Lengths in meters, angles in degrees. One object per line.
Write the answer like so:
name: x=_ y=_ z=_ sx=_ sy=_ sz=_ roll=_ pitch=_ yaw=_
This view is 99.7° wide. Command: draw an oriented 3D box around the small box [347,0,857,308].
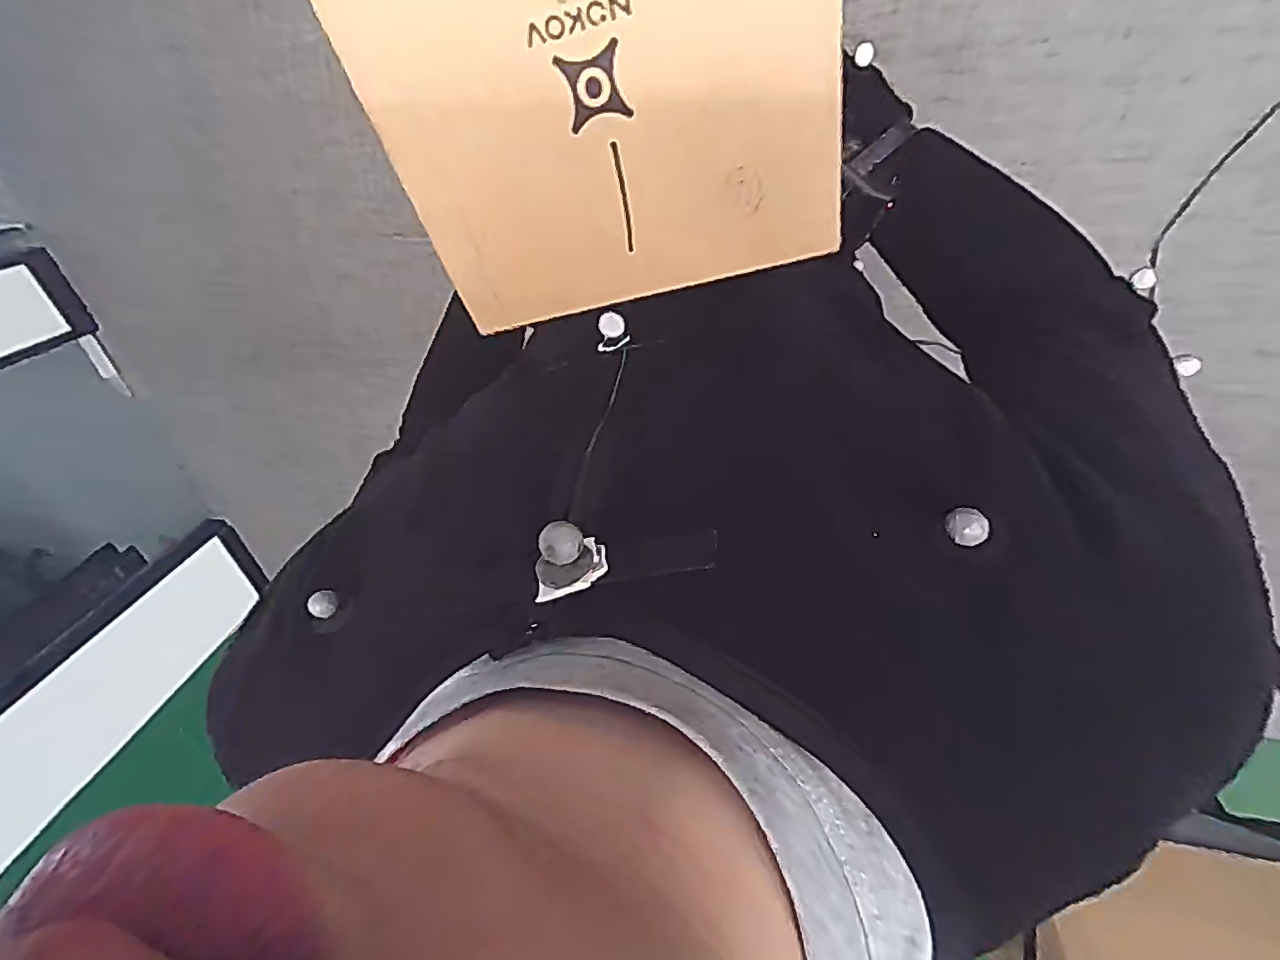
small box: x=-0.011 y=-0.208 z=0.239 sx=0.168 sy=0.176 sz=0.179 roll=-10 pitch=132 yaw=10
